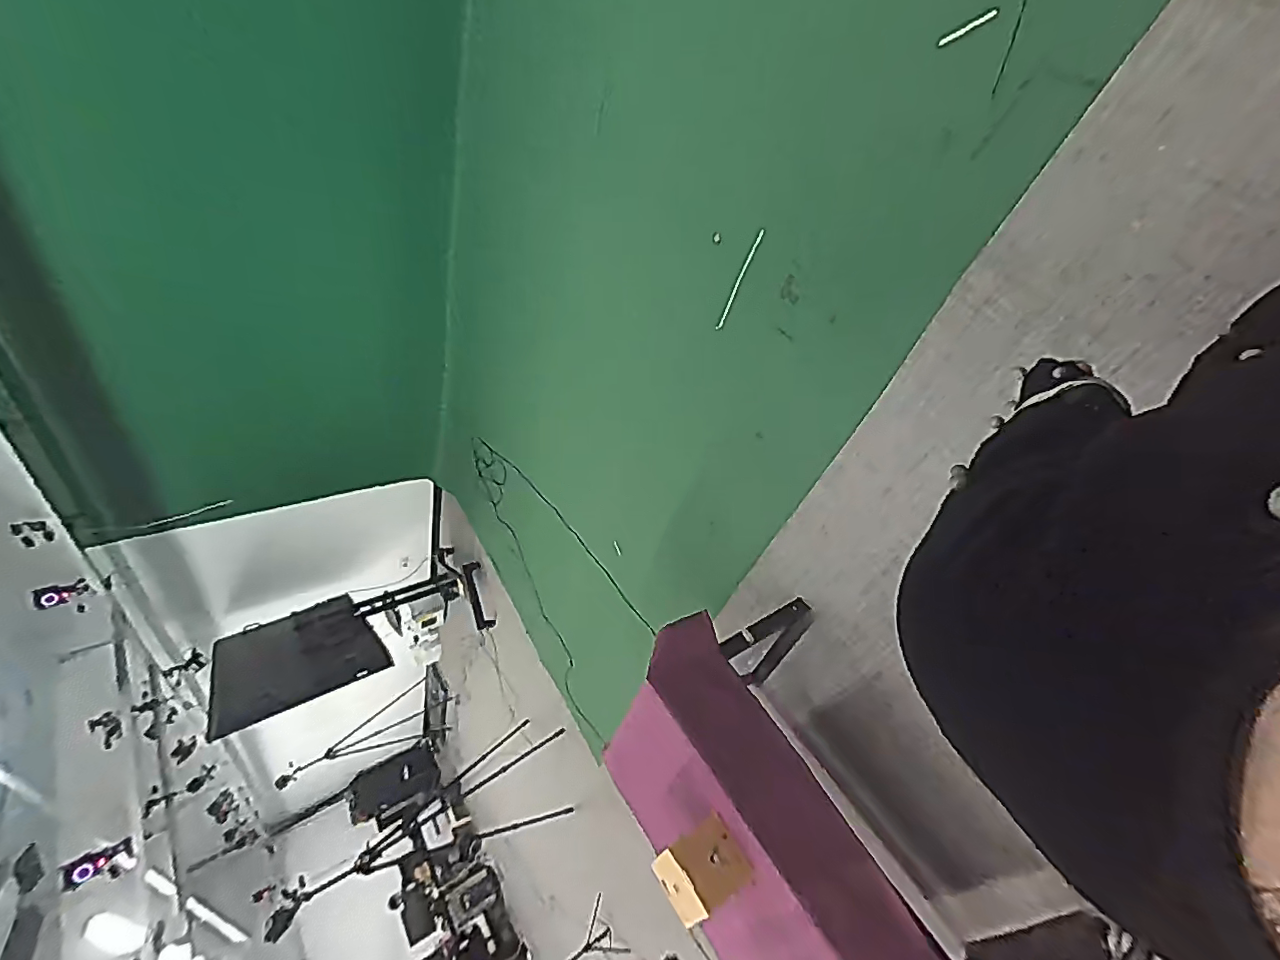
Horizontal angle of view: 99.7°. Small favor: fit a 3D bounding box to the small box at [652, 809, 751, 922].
[{"bbox_3d":[0.165,1.009,1.425,0.168,0.176,0.179,50,138,30],"label":"small box"}]
